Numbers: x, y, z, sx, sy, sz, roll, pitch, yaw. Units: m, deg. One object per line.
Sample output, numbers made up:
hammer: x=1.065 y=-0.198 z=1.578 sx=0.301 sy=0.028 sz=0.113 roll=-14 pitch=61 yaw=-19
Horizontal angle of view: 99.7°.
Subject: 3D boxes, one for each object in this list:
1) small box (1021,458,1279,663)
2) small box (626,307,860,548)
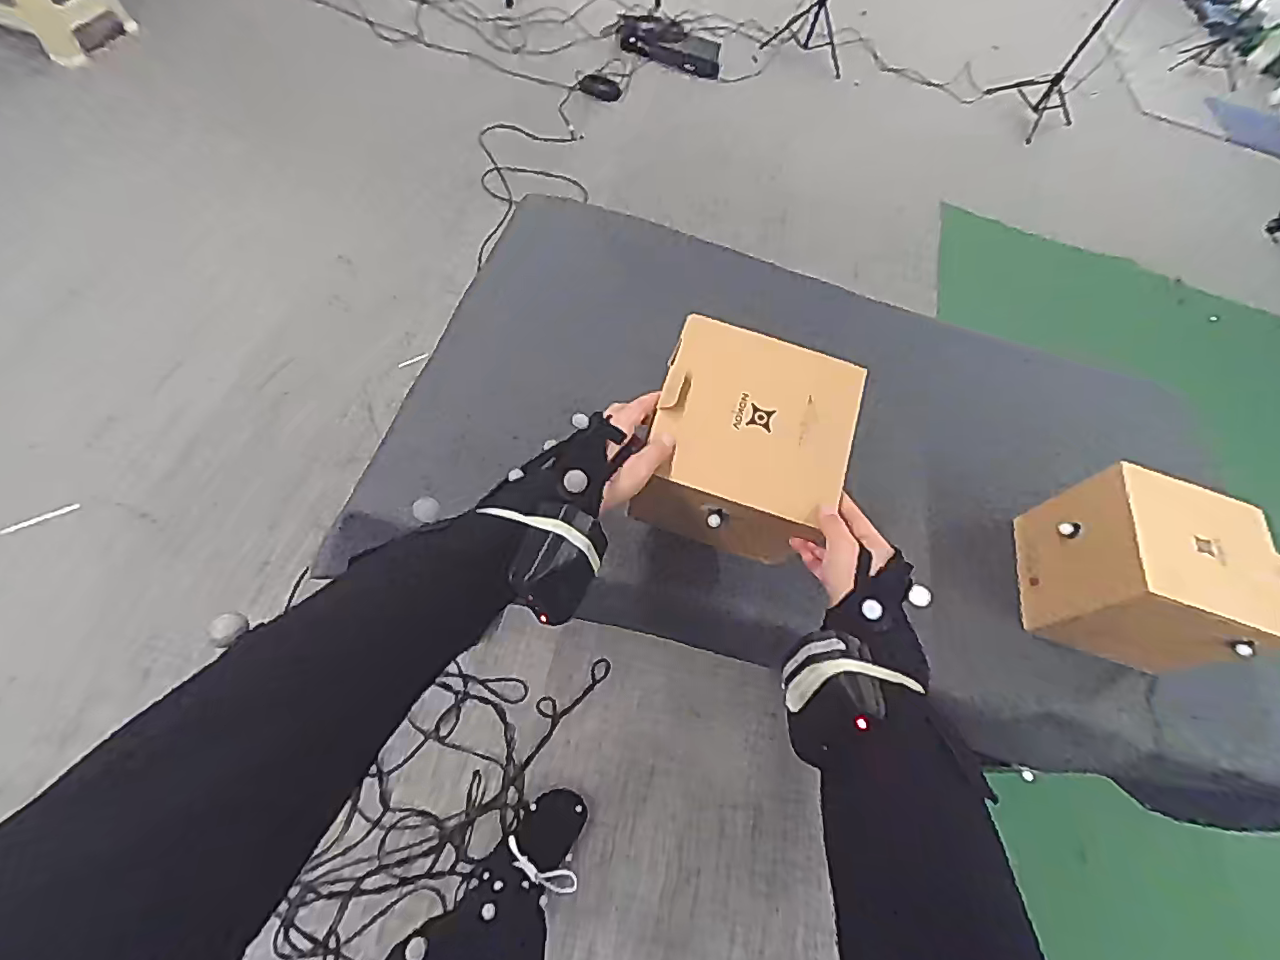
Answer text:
small box: x=0.590 y=0.105 z=0.644 sx=0.179 sy=0.176 sz=0.168 roll=19 pitch=60 yaw=-1
small box: x=0.091 y=-0.039 z=0.552 sx=0.179 sy=0.176 sz=0.168 roll=18 pitch=73 yaw=0
